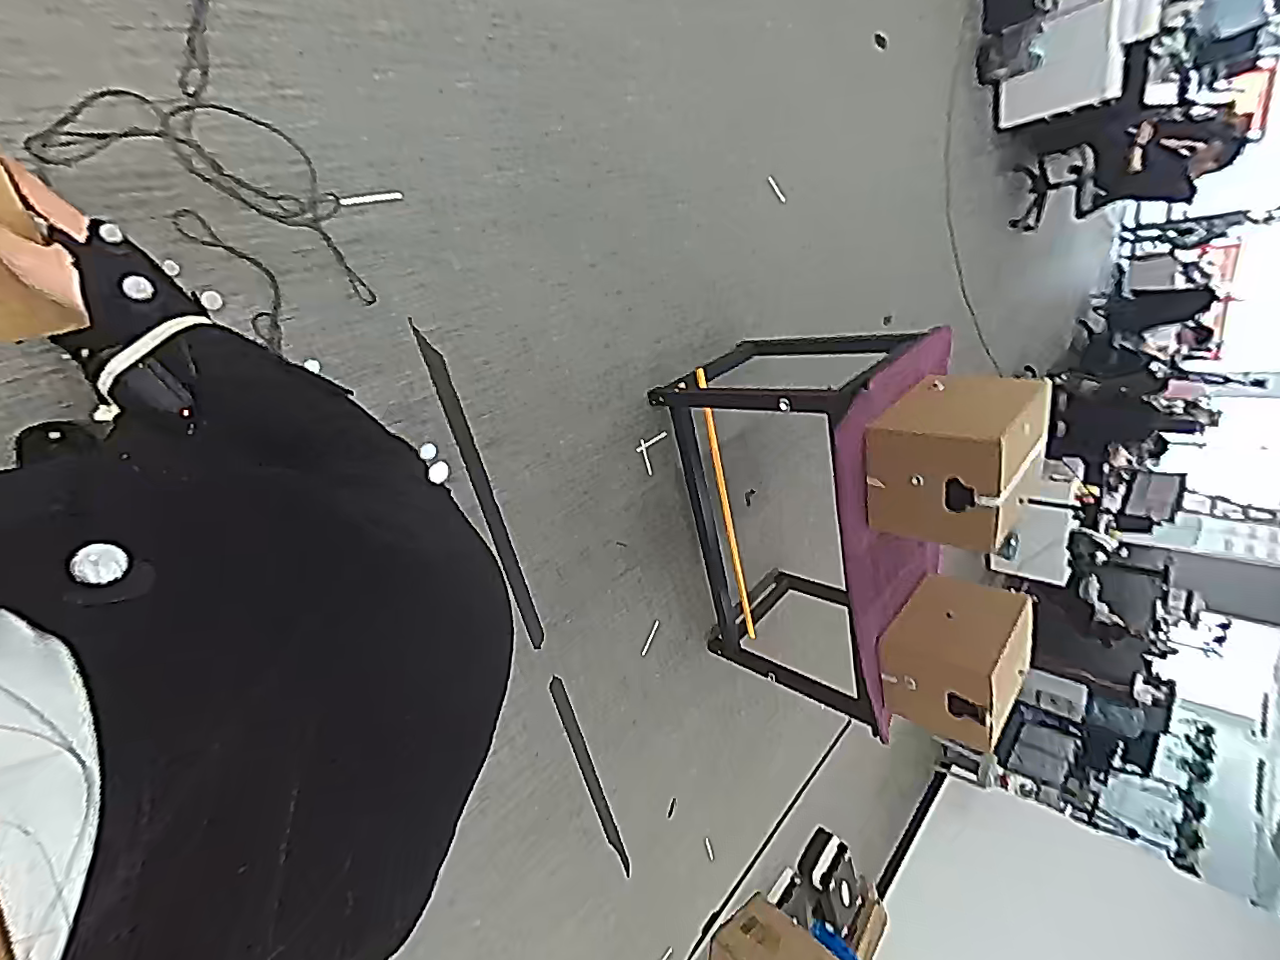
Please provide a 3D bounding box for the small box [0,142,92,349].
[{"bbox_3d":[-0.546,-0.191,0.371,0.179,0.176,0.168,-29,143,-38],"label":"small box"}]

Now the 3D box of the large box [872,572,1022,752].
[{"bbox_3d":[0.988,0.559,1.738,0.408,0.320,0.320,-33,120,-36],"label":"large box"}]
